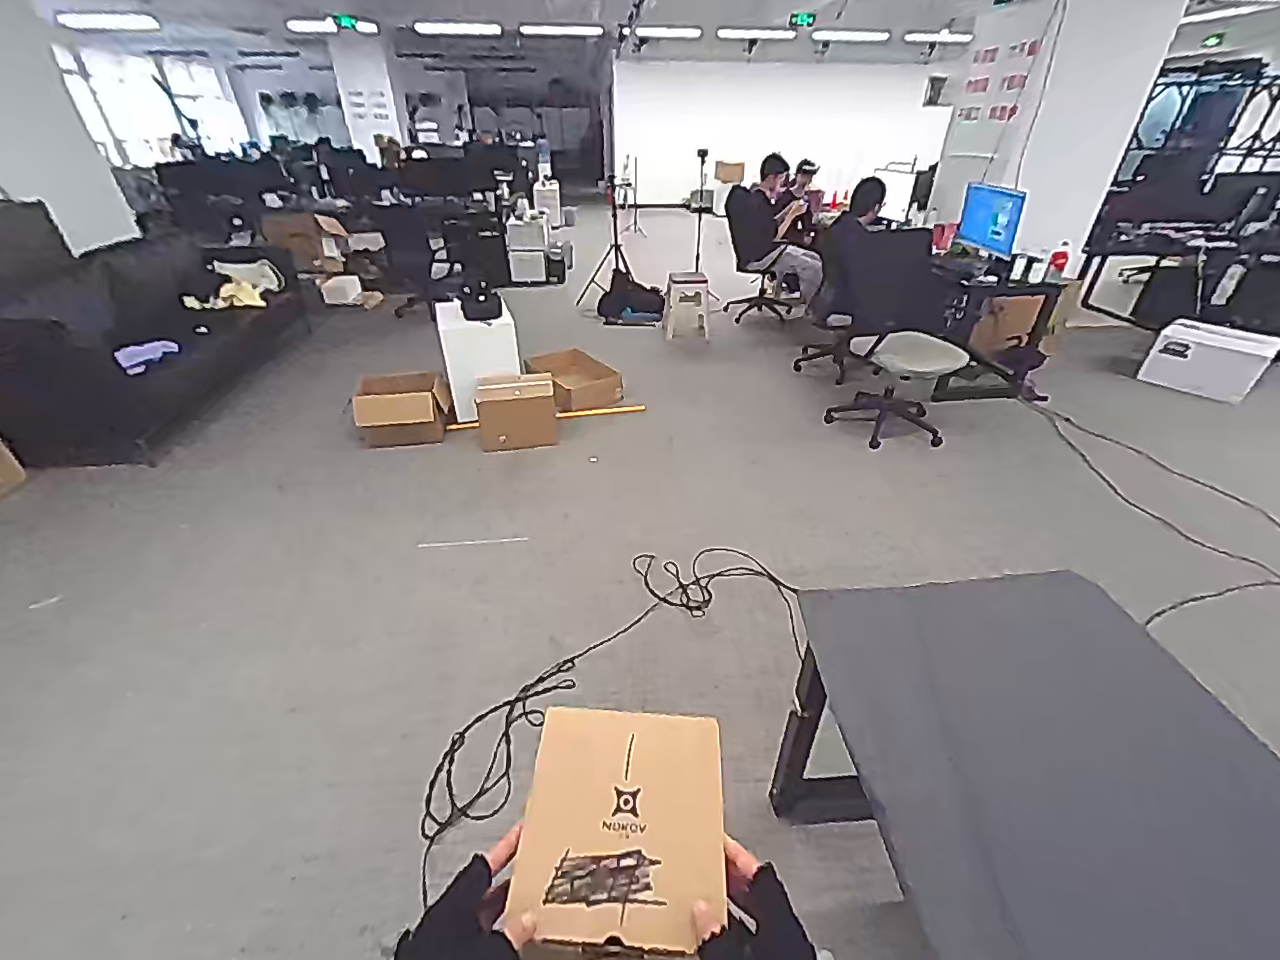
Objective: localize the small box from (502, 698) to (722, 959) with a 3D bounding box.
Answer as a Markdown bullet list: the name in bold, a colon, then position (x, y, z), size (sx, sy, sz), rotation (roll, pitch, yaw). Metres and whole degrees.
- **small box**: position (-0.014, 0.332, 0.503), size (0.168, 0.176, 0.179), rotation (3, 39, 3)
